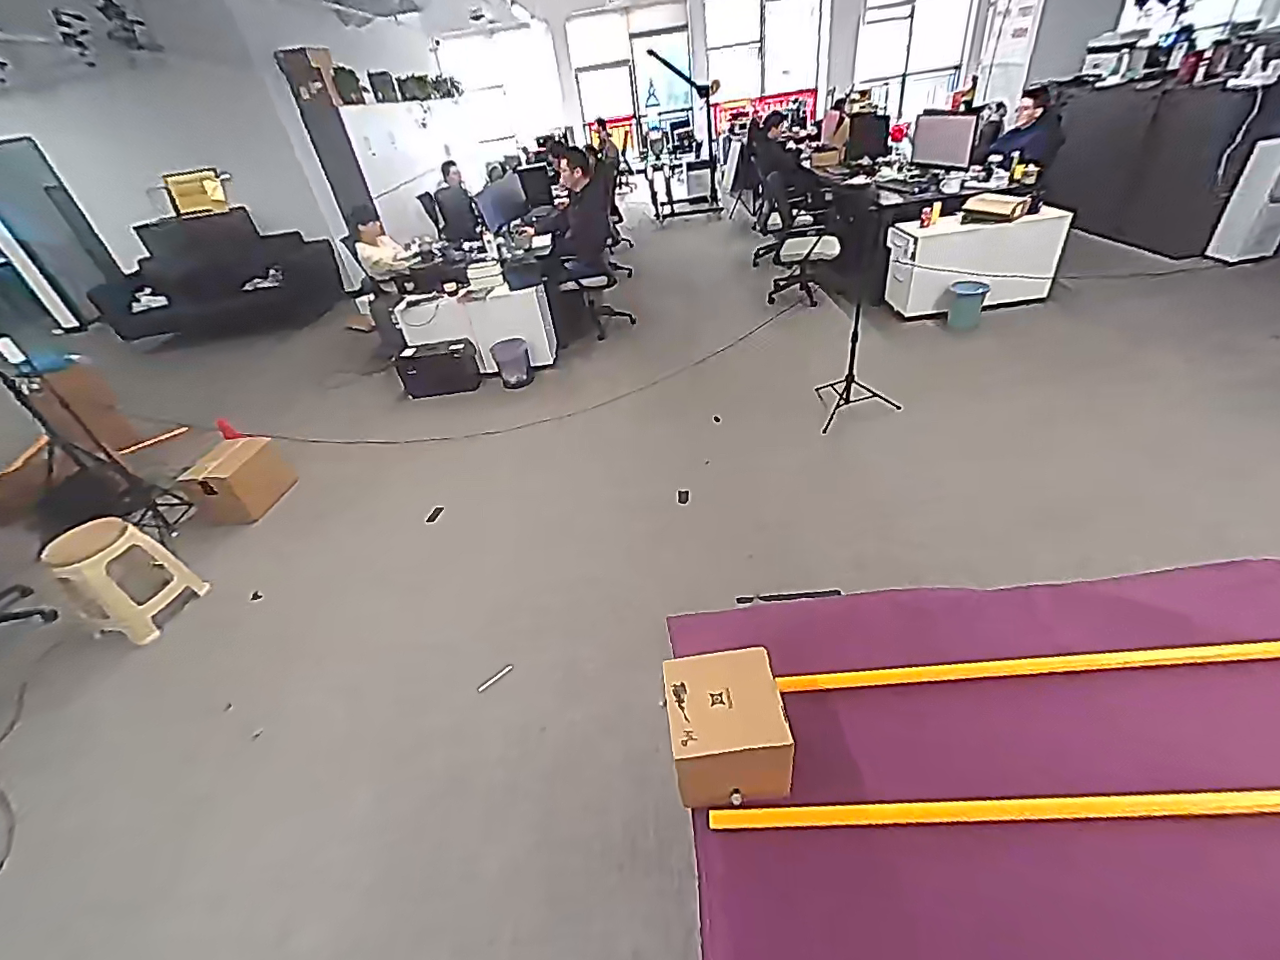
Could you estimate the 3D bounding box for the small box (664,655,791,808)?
[{"bbox_3d":[0.136,0.413,0.890,0.179,0.176,0.168,-7,37,2],"label":"small box"}]
